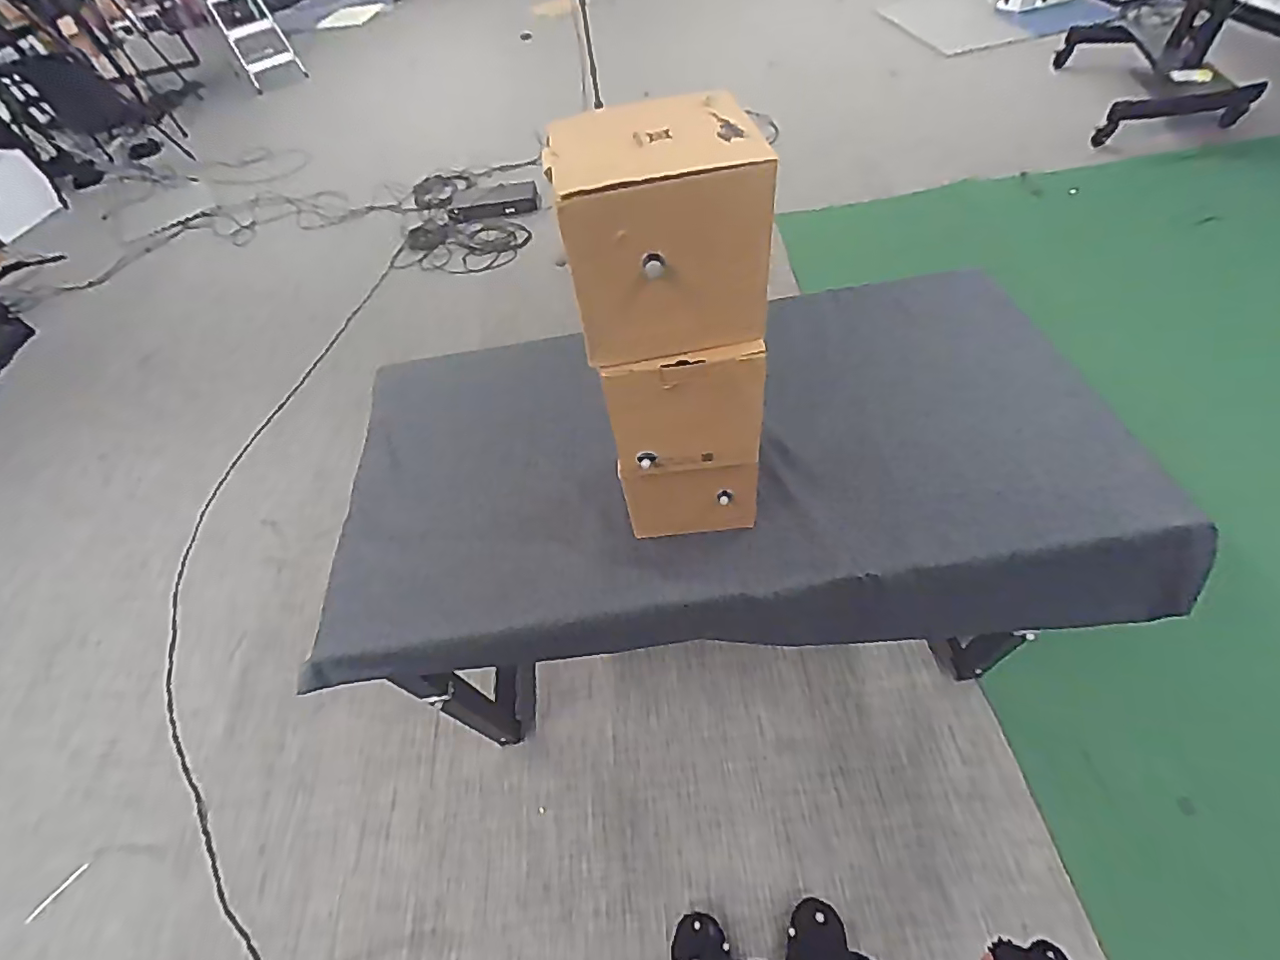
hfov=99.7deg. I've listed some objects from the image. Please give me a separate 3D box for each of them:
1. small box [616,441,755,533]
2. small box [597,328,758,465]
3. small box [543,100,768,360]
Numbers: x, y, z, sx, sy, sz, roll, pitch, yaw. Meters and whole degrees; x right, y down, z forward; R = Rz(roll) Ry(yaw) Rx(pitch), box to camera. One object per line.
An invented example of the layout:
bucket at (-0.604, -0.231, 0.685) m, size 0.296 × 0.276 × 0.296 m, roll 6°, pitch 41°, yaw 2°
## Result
small box at (0.063, -0.039, 0.784) m, size 0.179 × 0.176 × 0.168 m, roll -7°, pitch 52°, yaw 5°
small box at (0.042, -0.132, 0.650) m, size 0.168 × 0.176 × 0.179 m, roll -9°, pitch 53°, yaw 2°
small box at (0.014, -0.239, 0.532) m, size 0.179 × 0.176 × 0.168 m, roll -12°, pitch 50°, yaw -2°
